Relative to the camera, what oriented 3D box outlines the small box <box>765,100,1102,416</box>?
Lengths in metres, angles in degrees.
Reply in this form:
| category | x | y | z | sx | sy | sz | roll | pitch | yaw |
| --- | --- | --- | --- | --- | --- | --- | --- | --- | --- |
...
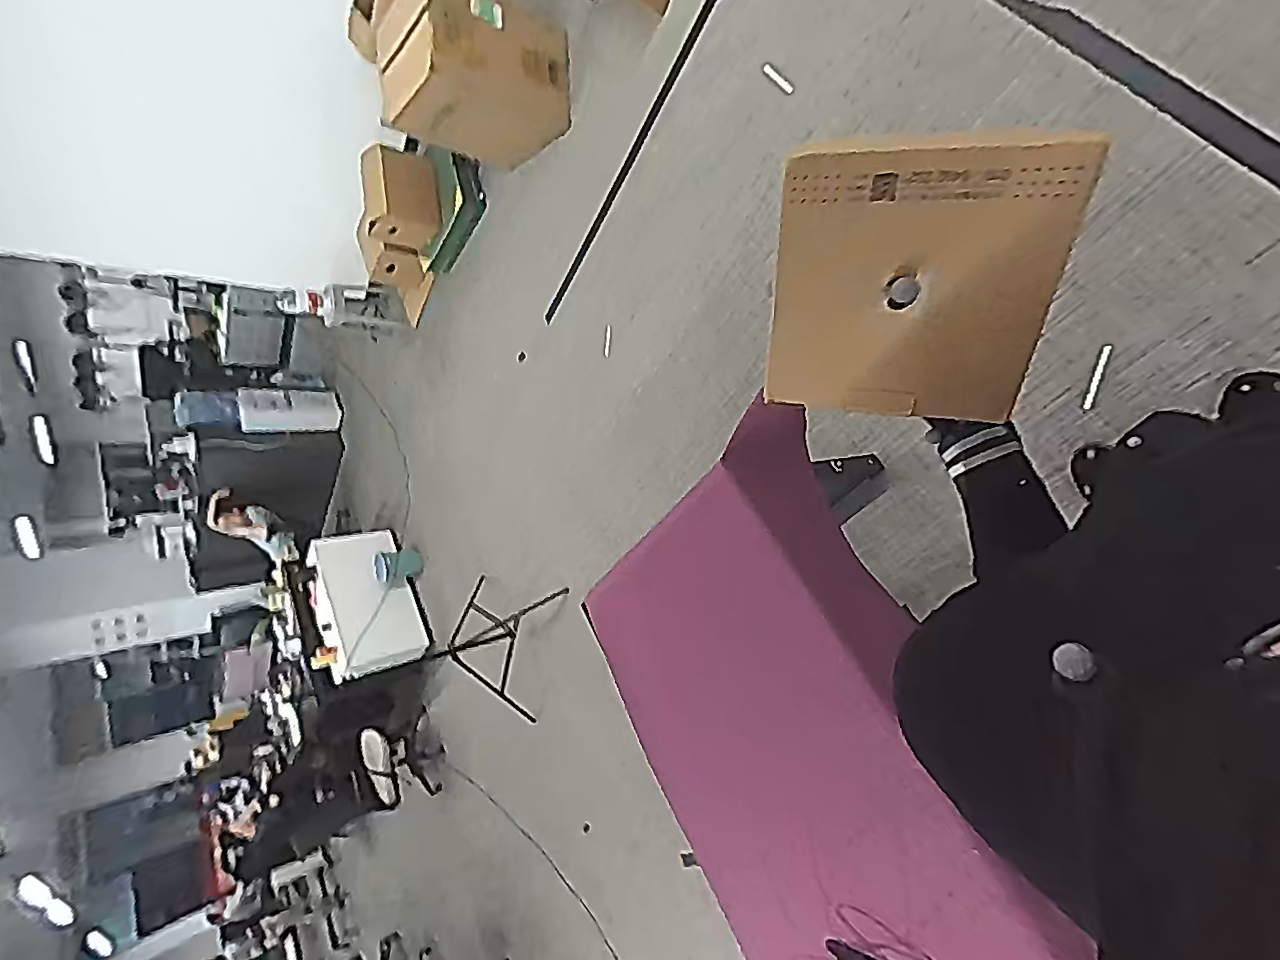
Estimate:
| category | x | y | z | sx | sy | sz | roll | pitch | yaw |
| --- | --- | --- | --- | --- | --- | --- | --- | --- | --- |
| small box | 0.192 | -0.167 | 0.395 | 0.168 | 0.179 | 0.176 | 11 | 127 | 19 |
